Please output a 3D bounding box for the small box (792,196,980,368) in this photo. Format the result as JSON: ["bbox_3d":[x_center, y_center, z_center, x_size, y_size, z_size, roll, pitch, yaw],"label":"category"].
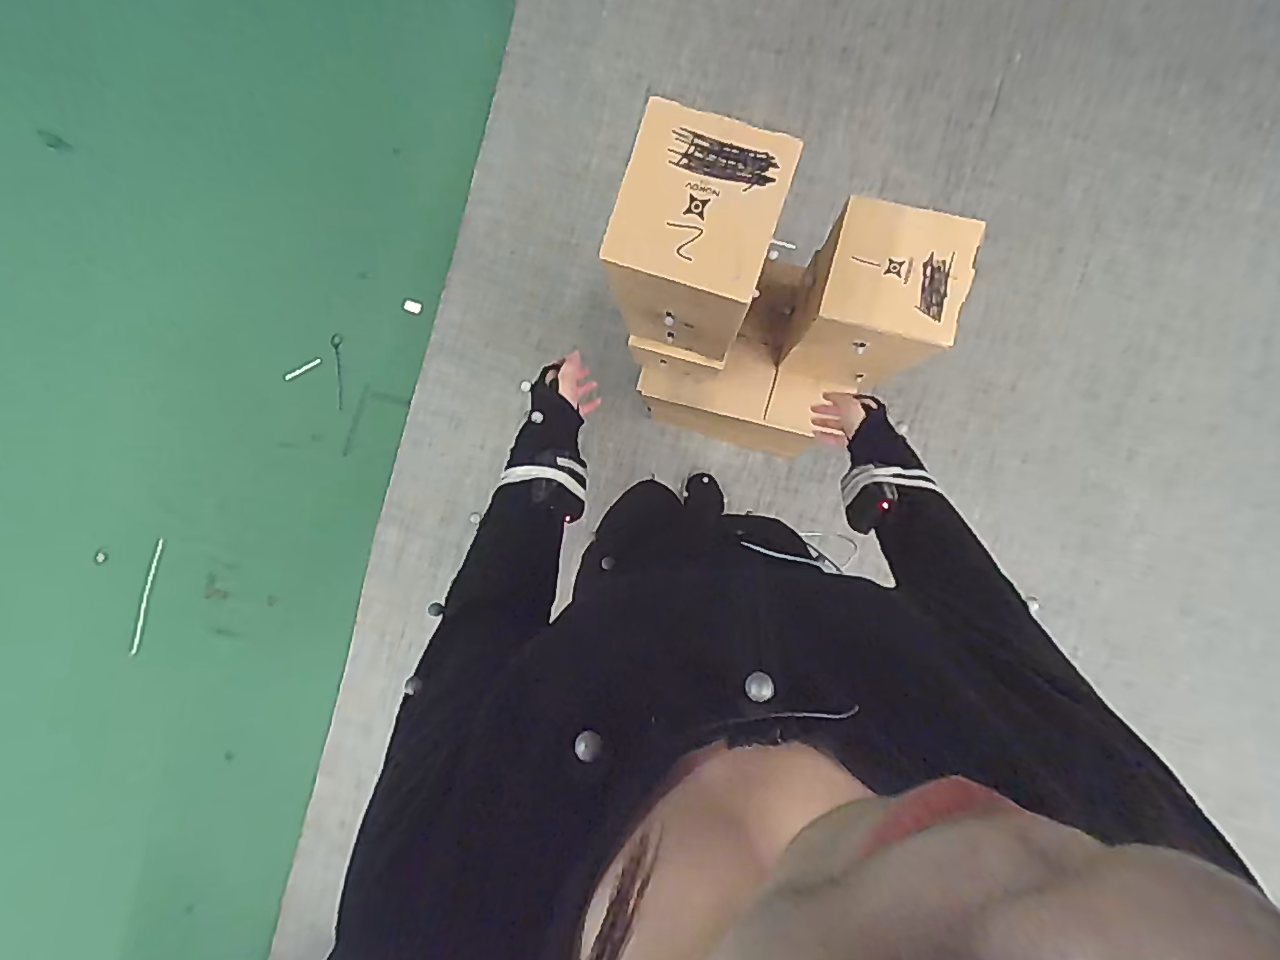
[{"bbox_3d":[0.338,-0.270,0.778,0.179,0.176,0.168,16,92,5],"label":"small box"}]

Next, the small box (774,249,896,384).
[{"bbox_3d":[0.349,-0.273,0.942,0.179,0.176,0.168,15,92,5],"label":"small box"}]

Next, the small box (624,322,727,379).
[{"bbox_3d":[0.080,-0.291,0.959,0.168,0.176,0.179,17,92,3],"label":"small box"}]

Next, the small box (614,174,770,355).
[{"bbox_3d":[0.073,-0.300,0.794,0.168,0.176,0.179,19,92,2],"label":"small box"}]
